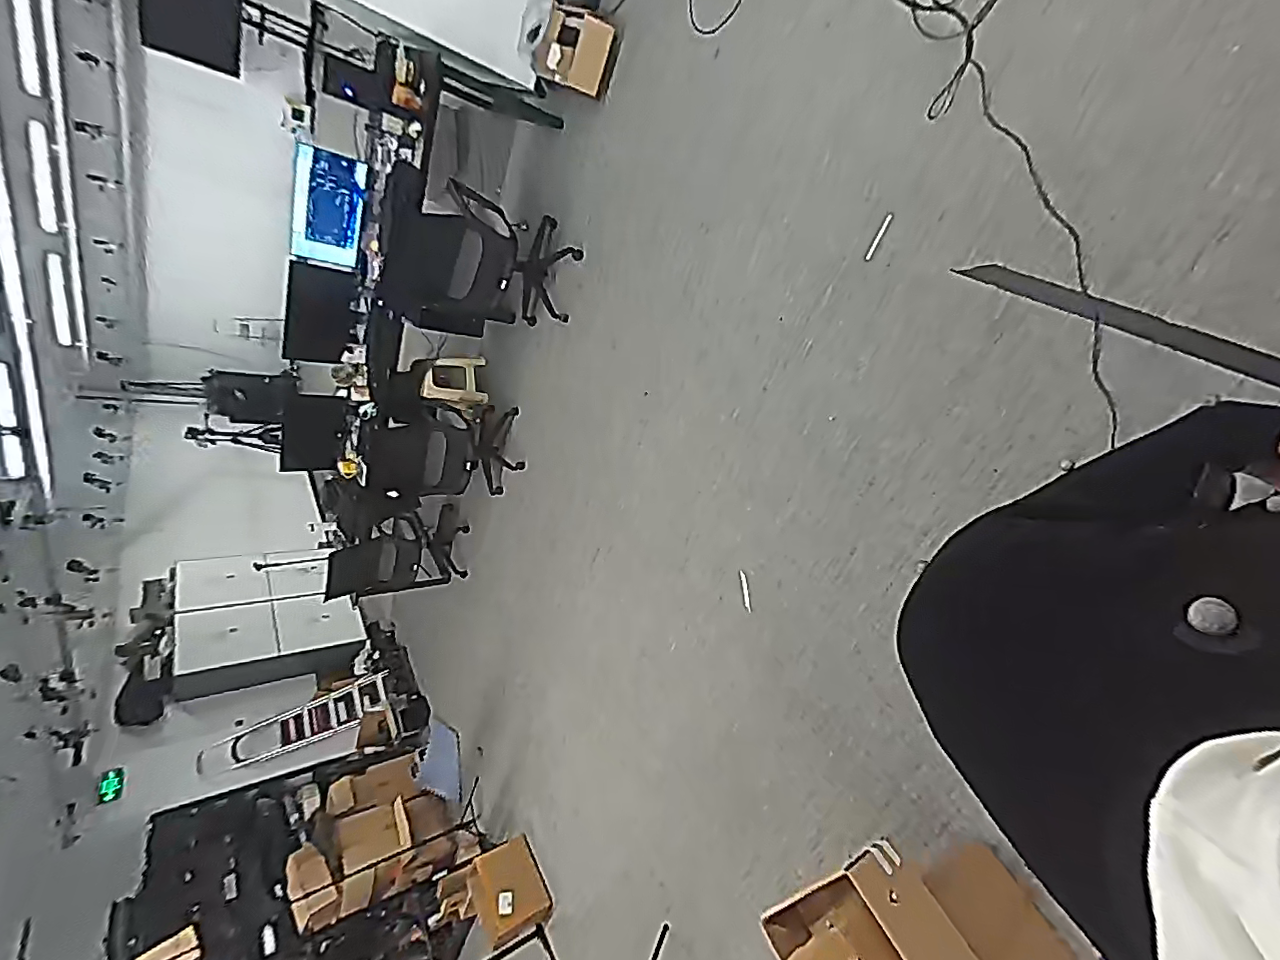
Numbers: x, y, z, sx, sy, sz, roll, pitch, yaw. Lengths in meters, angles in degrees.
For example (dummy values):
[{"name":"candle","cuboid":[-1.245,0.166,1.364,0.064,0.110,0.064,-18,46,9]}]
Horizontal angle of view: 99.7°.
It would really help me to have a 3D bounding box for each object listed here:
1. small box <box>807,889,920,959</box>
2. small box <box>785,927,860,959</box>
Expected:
[{"name":"small box","cuboid":[0.522,1.111,1.267,0.168,0.176,0.179,52,130,35]},{"name":"small box","cuboid":[0.396,1.118,1.166,0.168,0.176,0.179,53,130,35]}]
